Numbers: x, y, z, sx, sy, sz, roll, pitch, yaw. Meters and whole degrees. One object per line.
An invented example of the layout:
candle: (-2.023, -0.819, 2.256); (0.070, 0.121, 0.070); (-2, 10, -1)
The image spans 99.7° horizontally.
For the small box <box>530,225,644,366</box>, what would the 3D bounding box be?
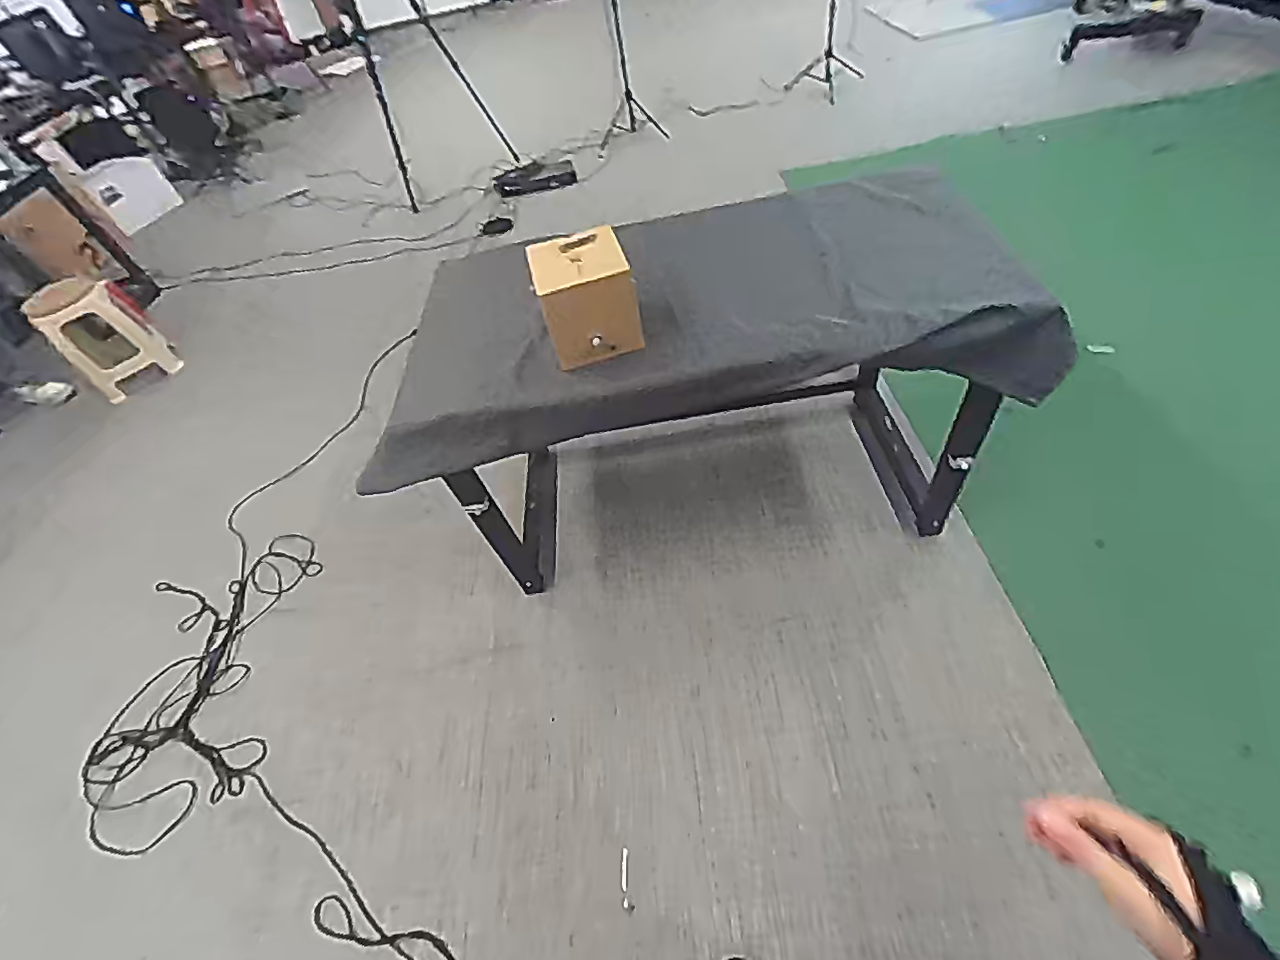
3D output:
small box: (-0.098, -0.346, 1.020); (0.168, 0.176, 0.179); (-17, 51, -2)
